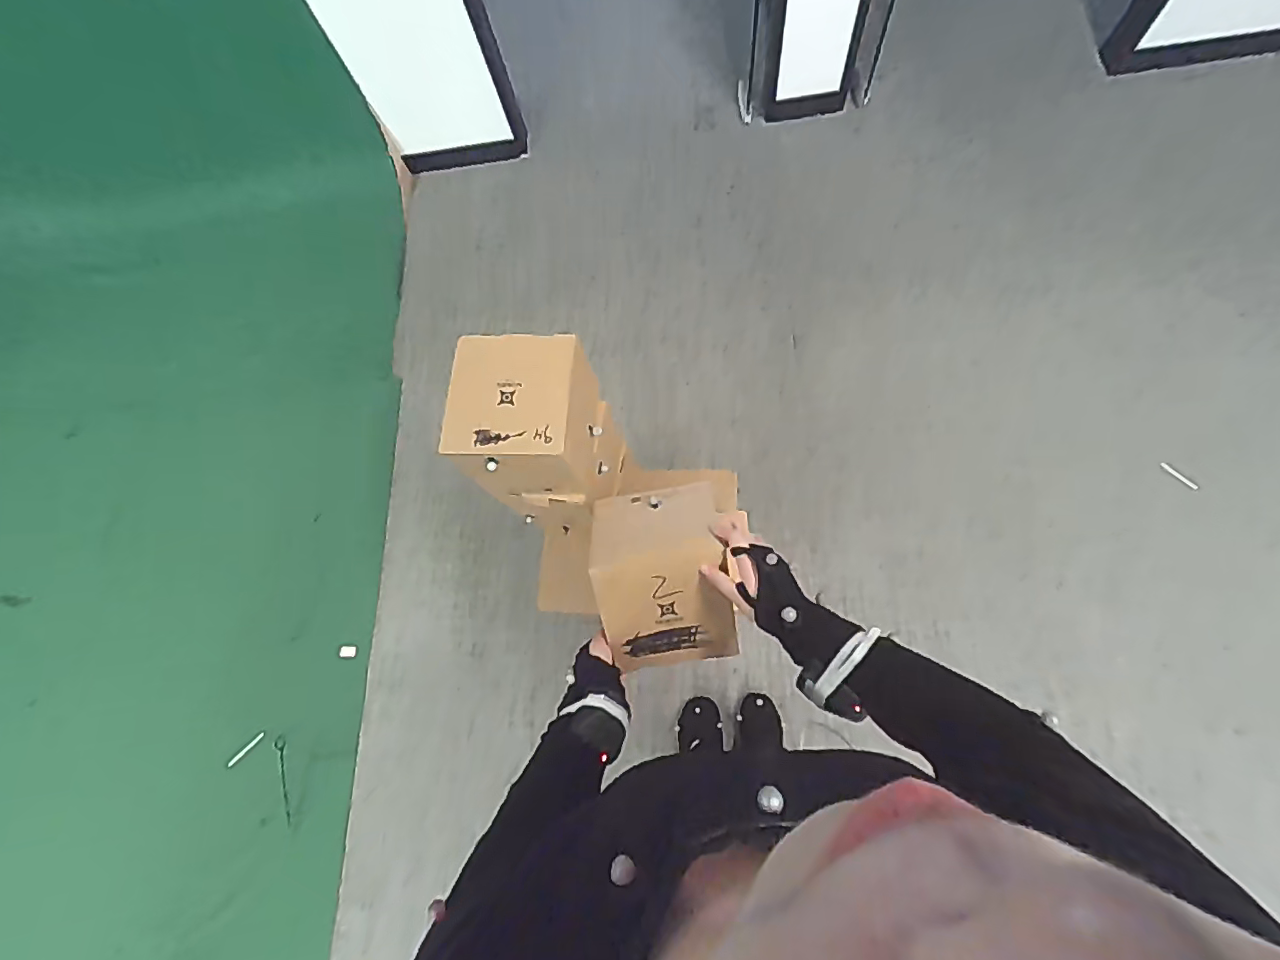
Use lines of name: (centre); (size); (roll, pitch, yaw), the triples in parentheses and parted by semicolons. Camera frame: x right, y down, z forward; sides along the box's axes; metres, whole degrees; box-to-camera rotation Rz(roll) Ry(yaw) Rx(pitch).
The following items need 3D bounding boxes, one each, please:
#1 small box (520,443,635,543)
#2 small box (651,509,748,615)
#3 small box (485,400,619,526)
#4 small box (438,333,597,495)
small box: (-0.116, 0.024, 1.083); (0.179, 0.176, 0.168); (7, 73, 8)
small box: (0.112, 0.160, 1.009); (0.168, 0.176, 0.179); (-2, 72, 6)
small box: (-0.139, -0.030, 0.930); (0.168, 0.176, 0.179); (8, 71, 9)
small box: (-0.161, -0.090, 0.777); (0.168, 0.176, 0.179); (1, 71, 8)
